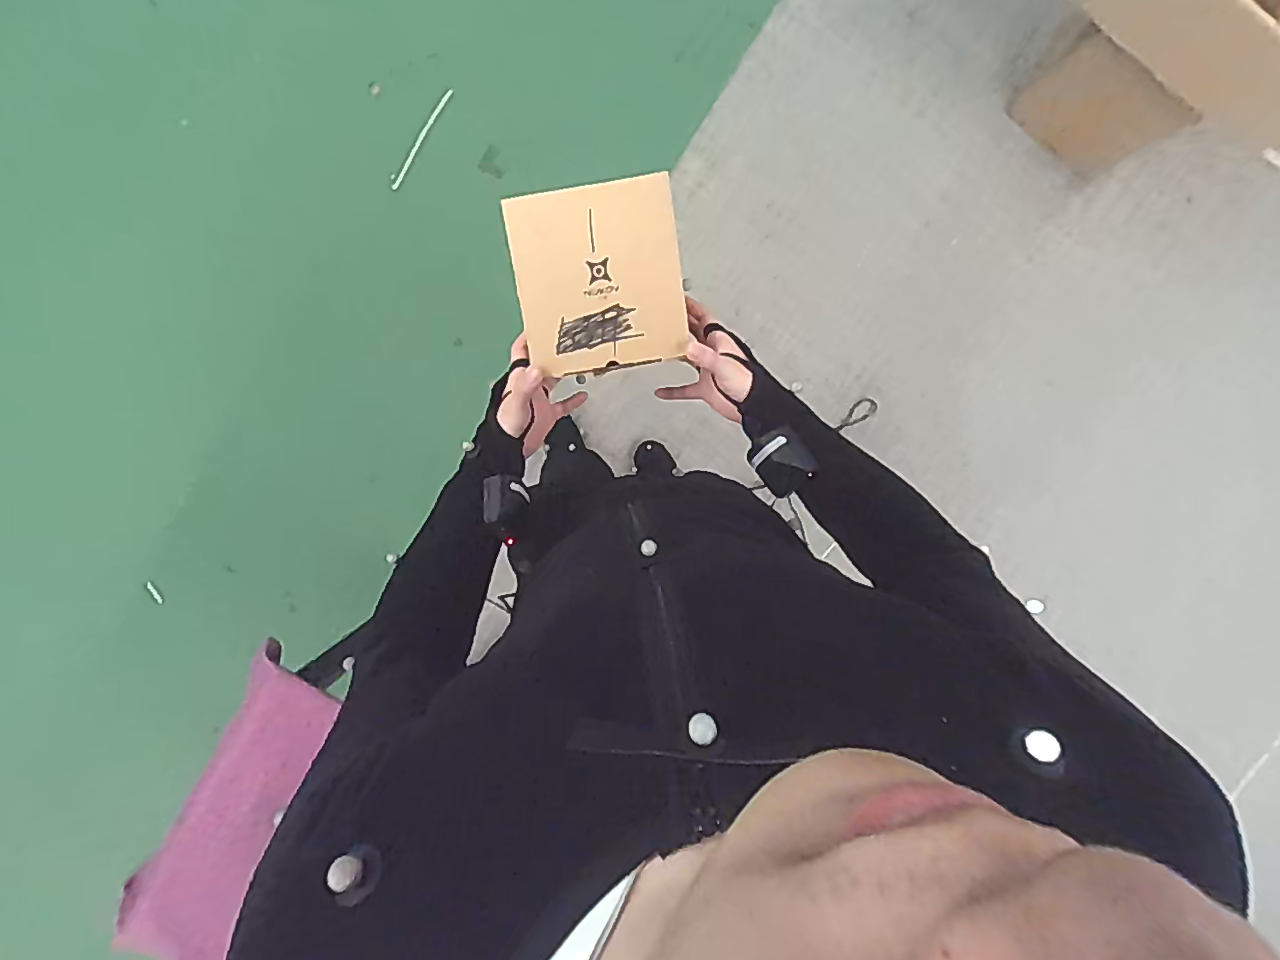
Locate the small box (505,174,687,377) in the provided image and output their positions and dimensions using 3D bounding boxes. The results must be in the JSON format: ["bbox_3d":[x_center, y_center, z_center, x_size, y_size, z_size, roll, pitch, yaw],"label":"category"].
[{"bbox_3d":[-0.040,-0.218,0.613,0.168,0.176,0.179,-7,102,2],"label":"small box"}]
